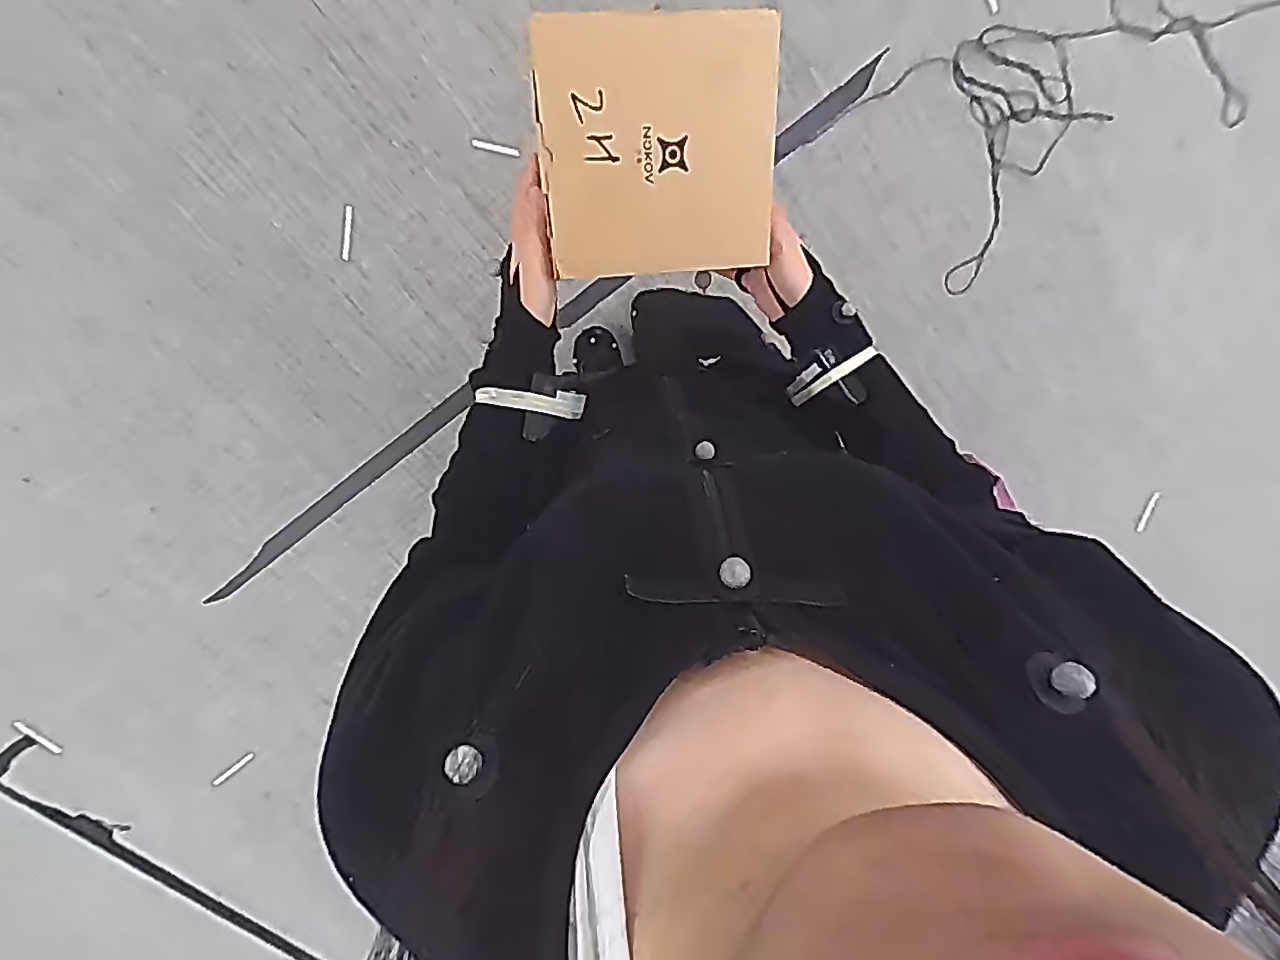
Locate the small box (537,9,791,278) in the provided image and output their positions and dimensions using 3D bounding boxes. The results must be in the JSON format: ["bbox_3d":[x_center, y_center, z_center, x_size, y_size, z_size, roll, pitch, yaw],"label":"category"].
[{"bbox_3d":[0.008,-0.271,0.464,0.179,0.176,0.168,-7,115,-7],"label":"small box"}]
